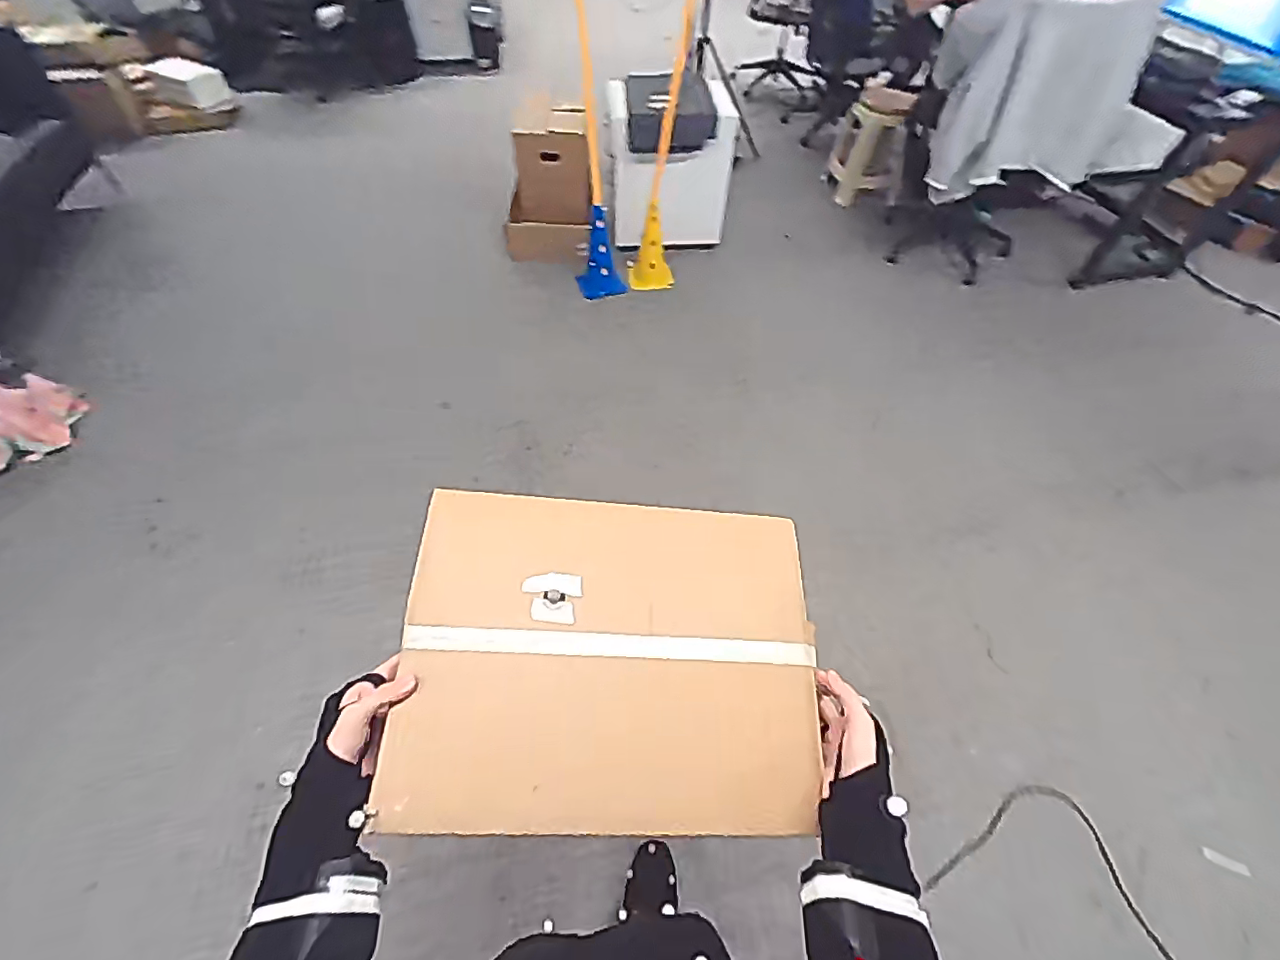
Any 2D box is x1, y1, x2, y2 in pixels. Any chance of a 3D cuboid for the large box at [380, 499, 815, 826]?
[{"bbox_3d":[-0.047,0.232,0.685,0.408,0.320,0.320,4,64,-7],"label":"large box"}]
